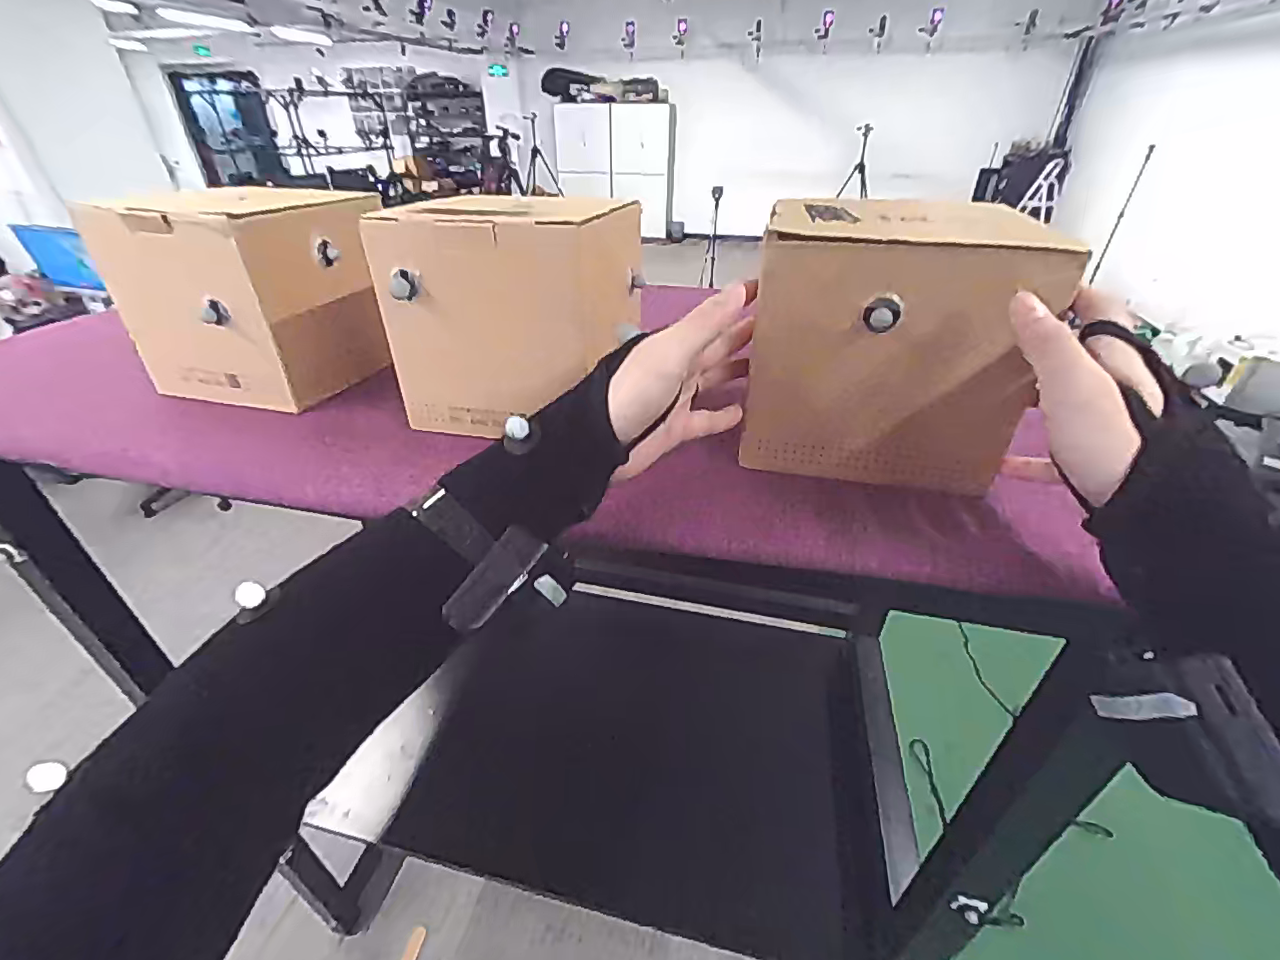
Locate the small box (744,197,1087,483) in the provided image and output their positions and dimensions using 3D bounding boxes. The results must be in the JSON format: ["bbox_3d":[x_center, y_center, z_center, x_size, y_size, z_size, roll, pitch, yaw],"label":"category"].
[{"bbox_3d":[0.179,-0.113,0.416,0.179,0.176,0.168,8,35,11],"label":"small box"}]

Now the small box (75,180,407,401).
[{"bbox_3d":[-0.356,-0.190,0.527,0.168,0.176,0.179,10,33,13],"label":"small box"}]
